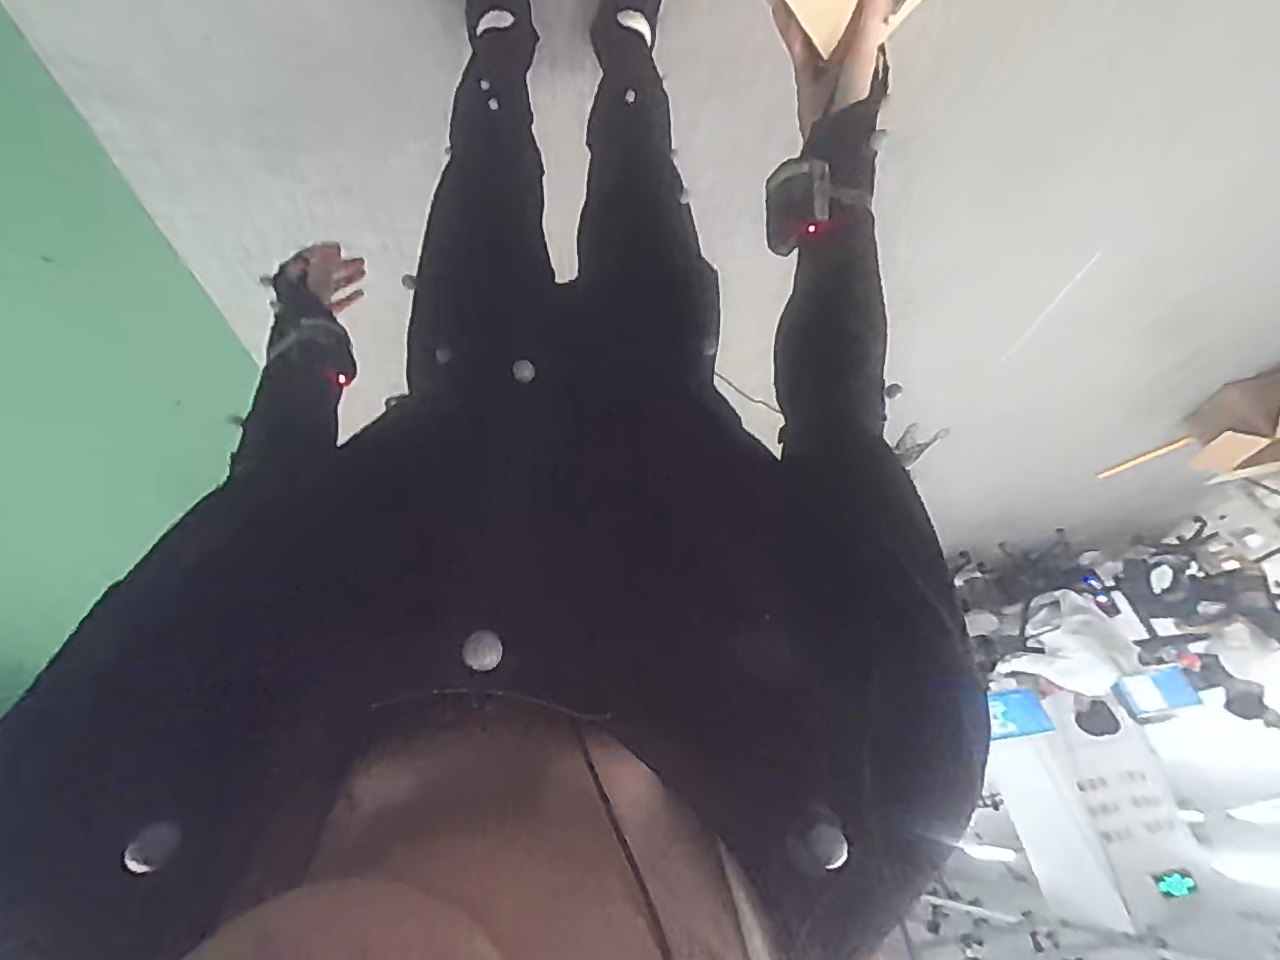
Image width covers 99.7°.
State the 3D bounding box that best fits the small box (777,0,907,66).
[{"bbox_3d":[0.142,-0.473,0.395,0.179,0.176,0.168,7,143,-47],"label":"small box"}]
